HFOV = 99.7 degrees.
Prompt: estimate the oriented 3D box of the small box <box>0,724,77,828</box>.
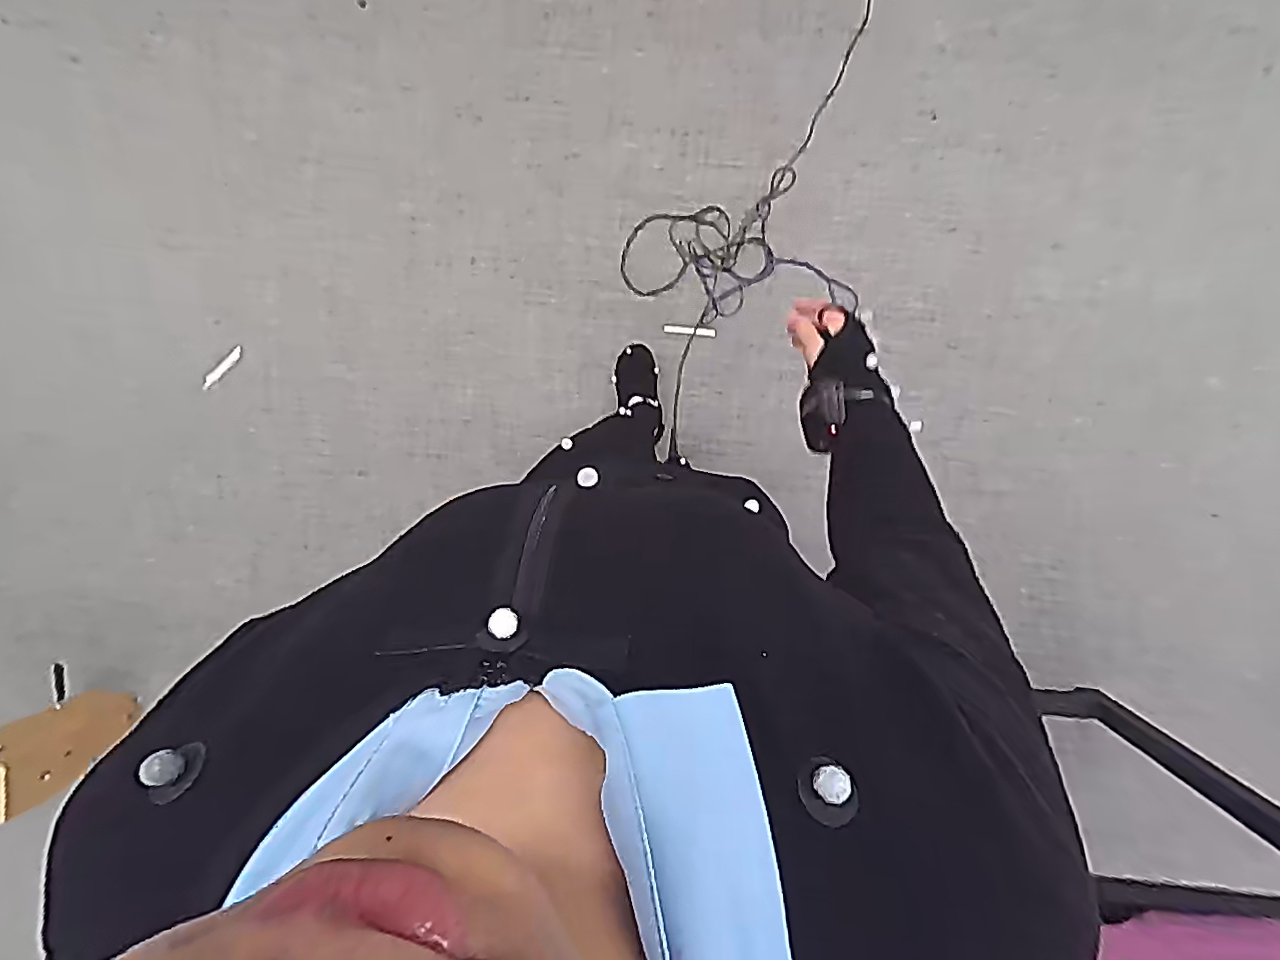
[{"bbox_3d":[-1.669,0.780,1.443,0.179,0.176,0.168,9,97,4],"label":"small box"}]
